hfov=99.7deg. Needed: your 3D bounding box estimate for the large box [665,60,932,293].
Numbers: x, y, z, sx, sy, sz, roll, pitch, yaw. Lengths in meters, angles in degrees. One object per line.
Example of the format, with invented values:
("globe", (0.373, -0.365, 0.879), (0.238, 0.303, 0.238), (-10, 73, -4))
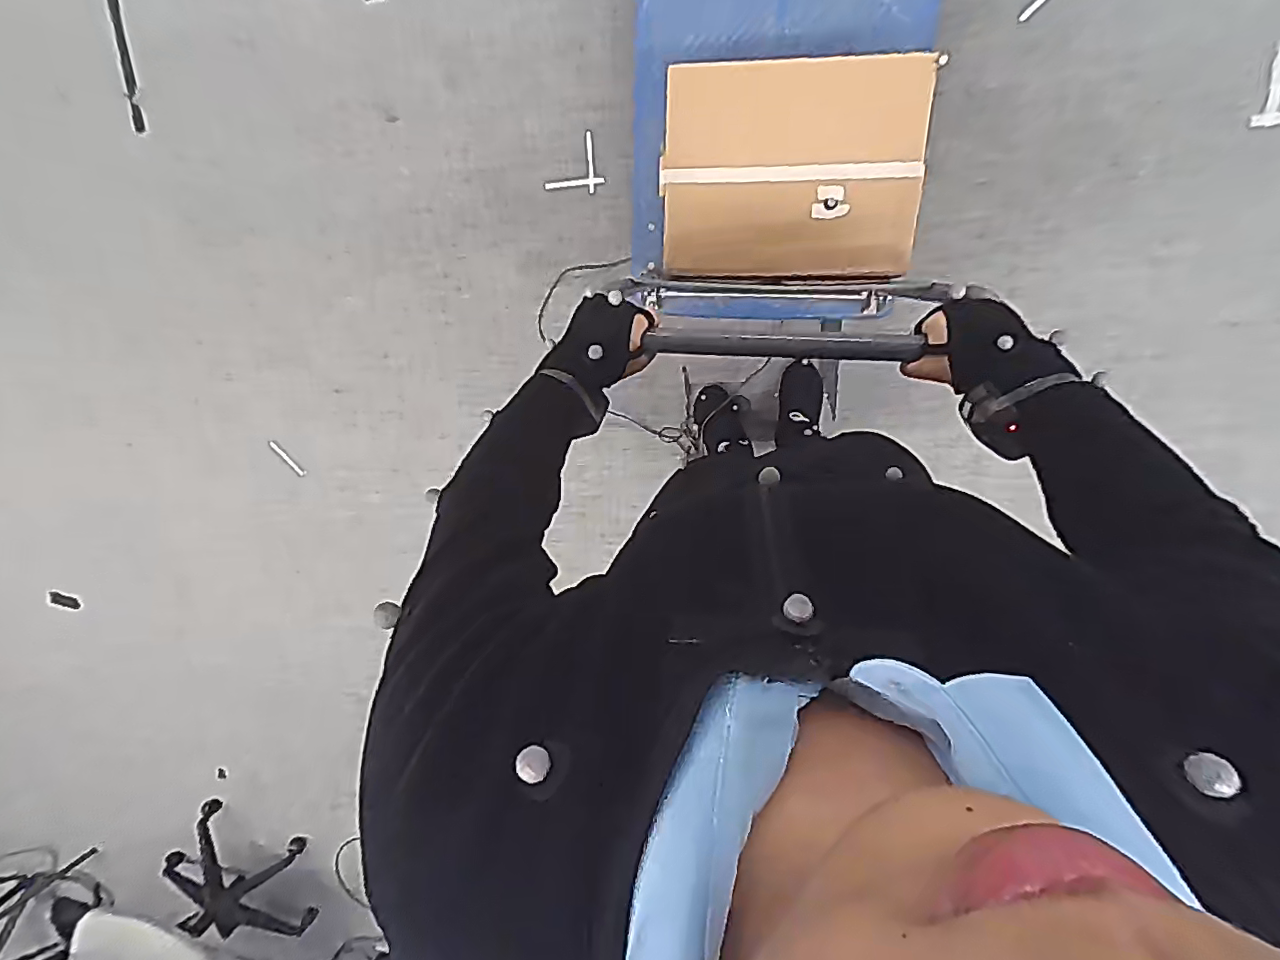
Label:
("large box", (0.255, -0.522, 1.006), (0.408, 0.320, 0.320), (2, 108, 7))
